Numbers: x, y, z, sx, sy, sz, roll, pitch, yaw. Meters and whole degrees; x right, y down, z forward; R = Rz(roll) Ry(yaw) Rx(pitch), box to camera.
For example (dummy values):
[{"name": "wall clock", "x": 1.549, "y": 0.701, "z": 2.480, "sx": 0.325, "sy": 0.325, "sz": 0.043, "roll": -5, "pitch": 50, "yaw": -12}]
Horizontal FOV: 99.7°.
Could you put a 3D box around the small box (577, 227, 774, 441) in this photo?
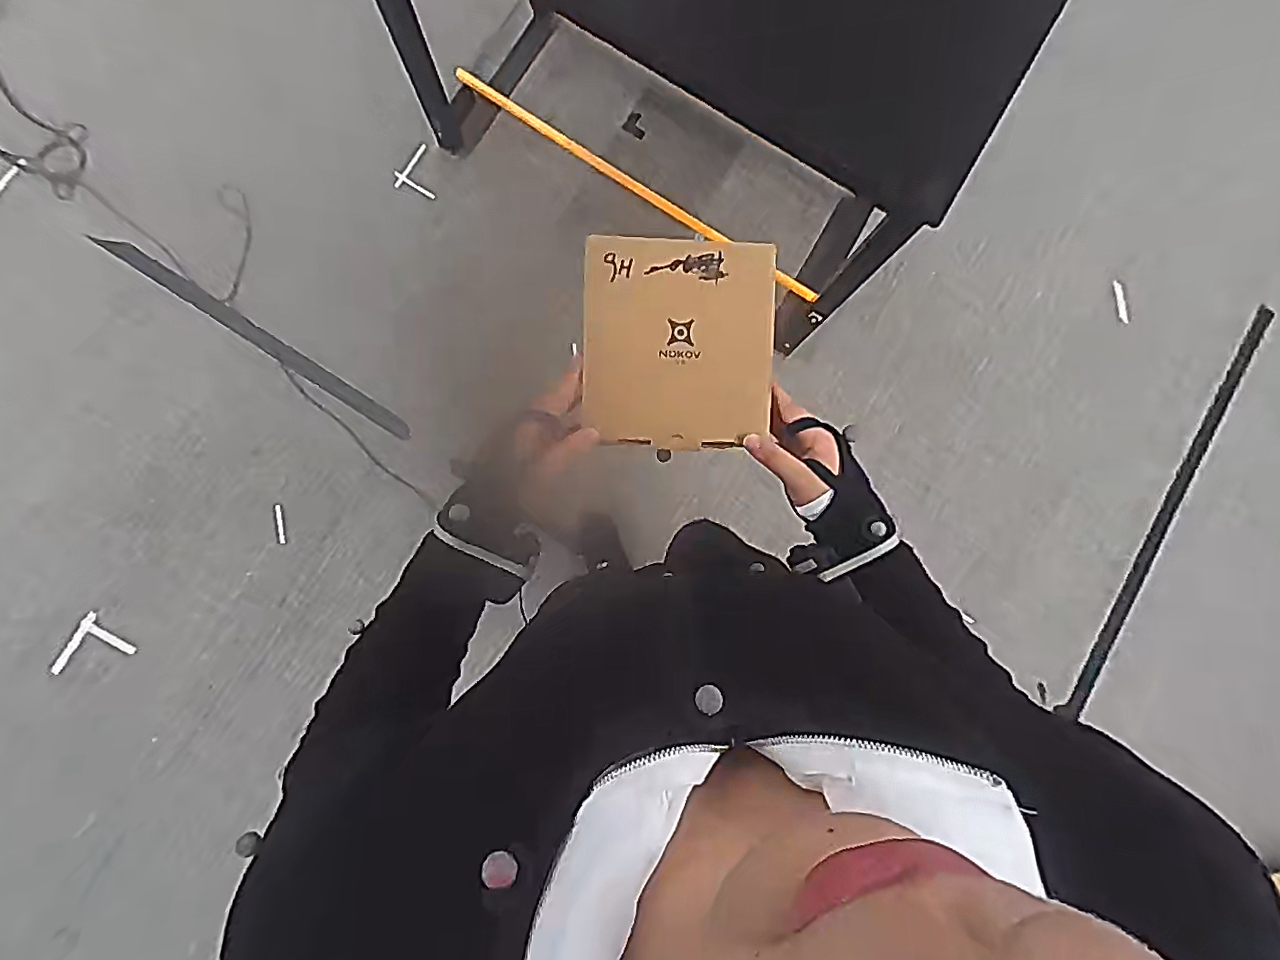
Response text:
[{"name": "small box", "x": 0.026, "y": -0.131, "z": 0.544, "sx": 0.168, "sy": 0.176, "sz": 0.179, "roll": 1, "pitch": 94, "yaw": -4}]

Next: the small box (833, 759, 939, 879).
[{"name": "small box", "x": 0.627, "y": 0.871, "z": 1.406, "sx": 0.168, "sy": 0.176, "sz": 0.179, "roll": 26, "pitch": 85, "yaw": -1}]
